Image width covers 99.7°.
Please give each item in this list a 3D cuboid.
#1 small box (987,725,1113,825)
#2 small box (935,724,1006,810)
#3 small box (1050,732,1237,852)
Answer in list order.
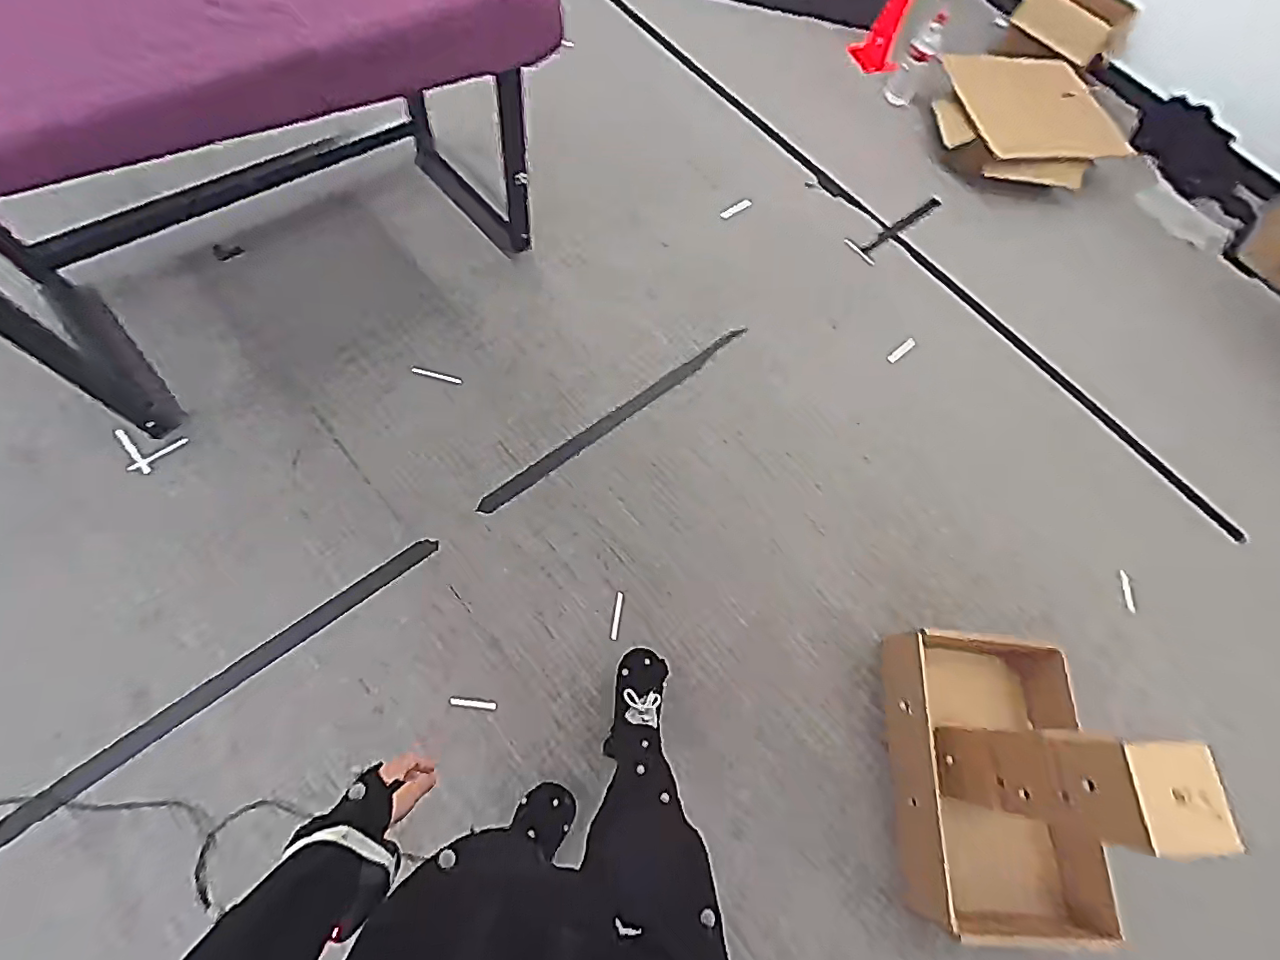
[{"bbox_3d":[0.871,0.615,1.141,0.179,0.176,0.168,4,69,-10],"label":"small box"},{"bbox_3d":[0.842,0.680,1.286,0.179,0.176,0.168,8,67,-6],"label":"small box"},{"bbox_3d":[0.895,0.560,0.986,0.179,0.176,0.168,3,70,-8],"label":"small box"}]
